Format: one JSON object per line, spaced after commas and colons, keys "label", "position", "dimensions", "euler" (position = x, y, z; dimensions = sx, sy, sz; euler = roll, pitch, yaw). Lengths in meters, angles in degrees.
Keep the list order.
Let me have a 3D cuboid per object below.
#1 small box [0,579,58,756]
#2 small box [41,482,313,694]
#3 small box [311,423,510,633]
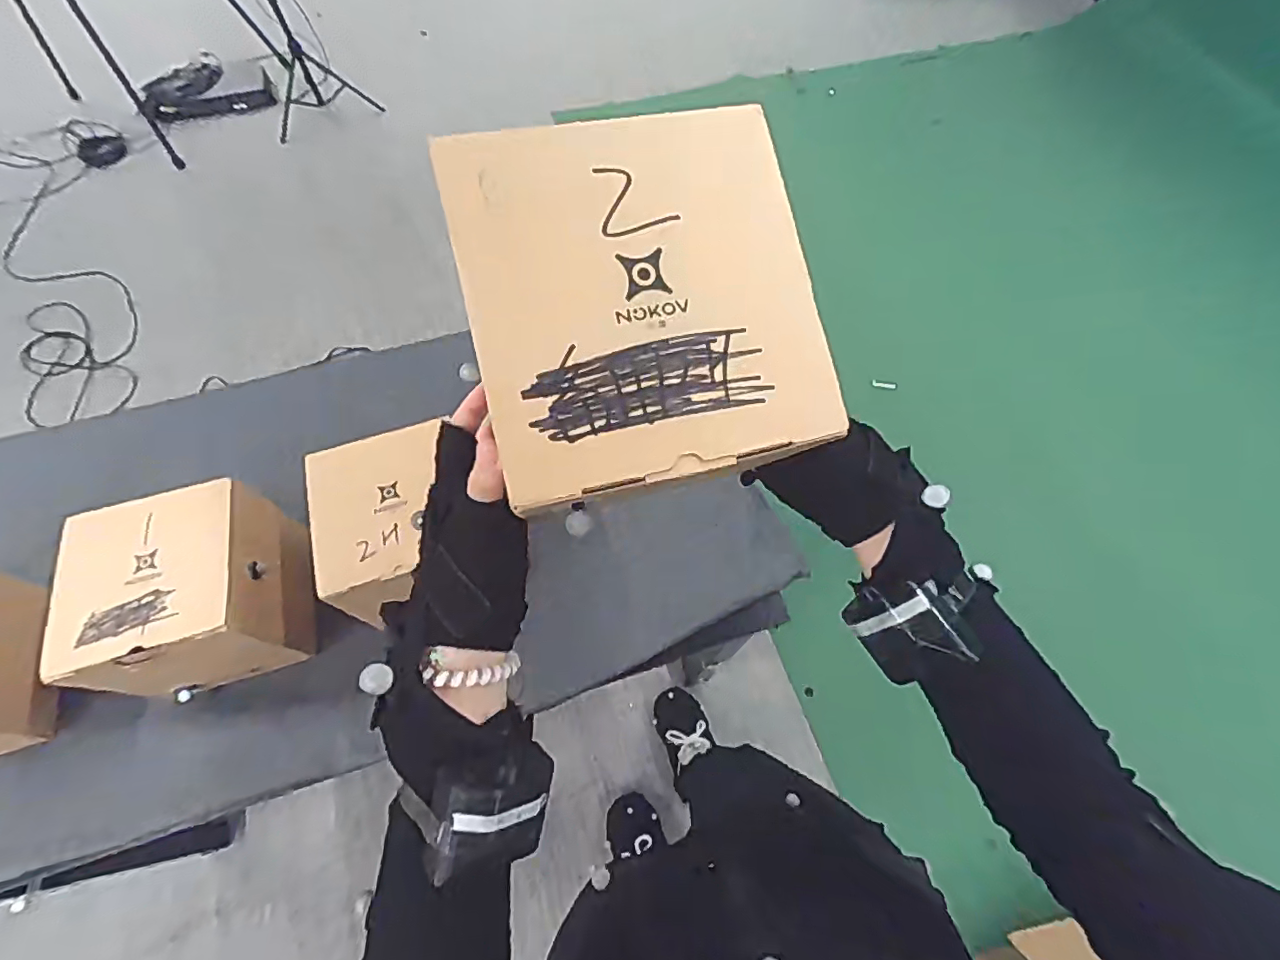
{"label": "small box", "position": [-0.772, 0.206, 0.571], "dimensions": [0.168, 0.176, 0.179], "euler": [-16, 63, -10]}
{"label": "small box", "position": [-0.497, 0.131, 0.614], "dimensions": [0.168, 0.176, 0.179], "euler": [-15, 63, -9]}
{"label": "small box", "position": [-0.268, 0.063, 0.653], "dimensions": [0.168, 0.176, 0.179], "euler": [-17, 64, -9]}
